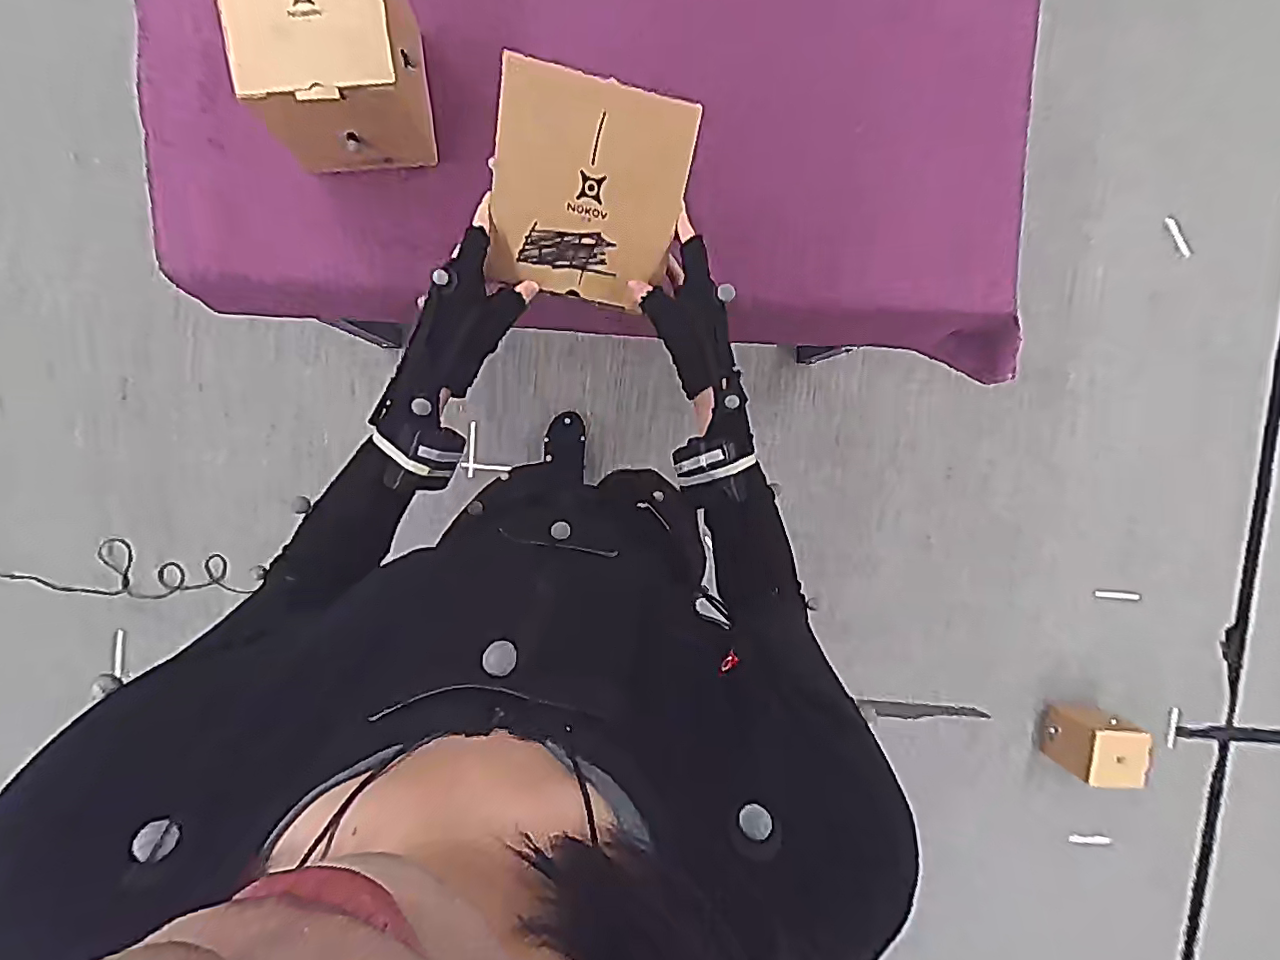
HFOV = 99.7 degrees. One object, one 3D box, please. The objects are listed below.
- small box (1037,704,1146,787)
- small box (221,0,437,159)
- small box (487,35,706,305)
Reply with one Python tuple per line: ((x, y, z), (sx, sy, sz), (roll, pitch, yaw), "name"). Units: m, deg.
((1.349, 0.791, 1.623), (0.179, 0.176, 0.168), (5, 93, -5), "small box")
((-0.351, -0.501, 0.634), (0.168, 0.176, 0.179), (-7, 96, -5), "small box")
((-0.048, -0.294, 0.539), (0.168, 0.176, 0.179), (9, 117, -10), "small box")
